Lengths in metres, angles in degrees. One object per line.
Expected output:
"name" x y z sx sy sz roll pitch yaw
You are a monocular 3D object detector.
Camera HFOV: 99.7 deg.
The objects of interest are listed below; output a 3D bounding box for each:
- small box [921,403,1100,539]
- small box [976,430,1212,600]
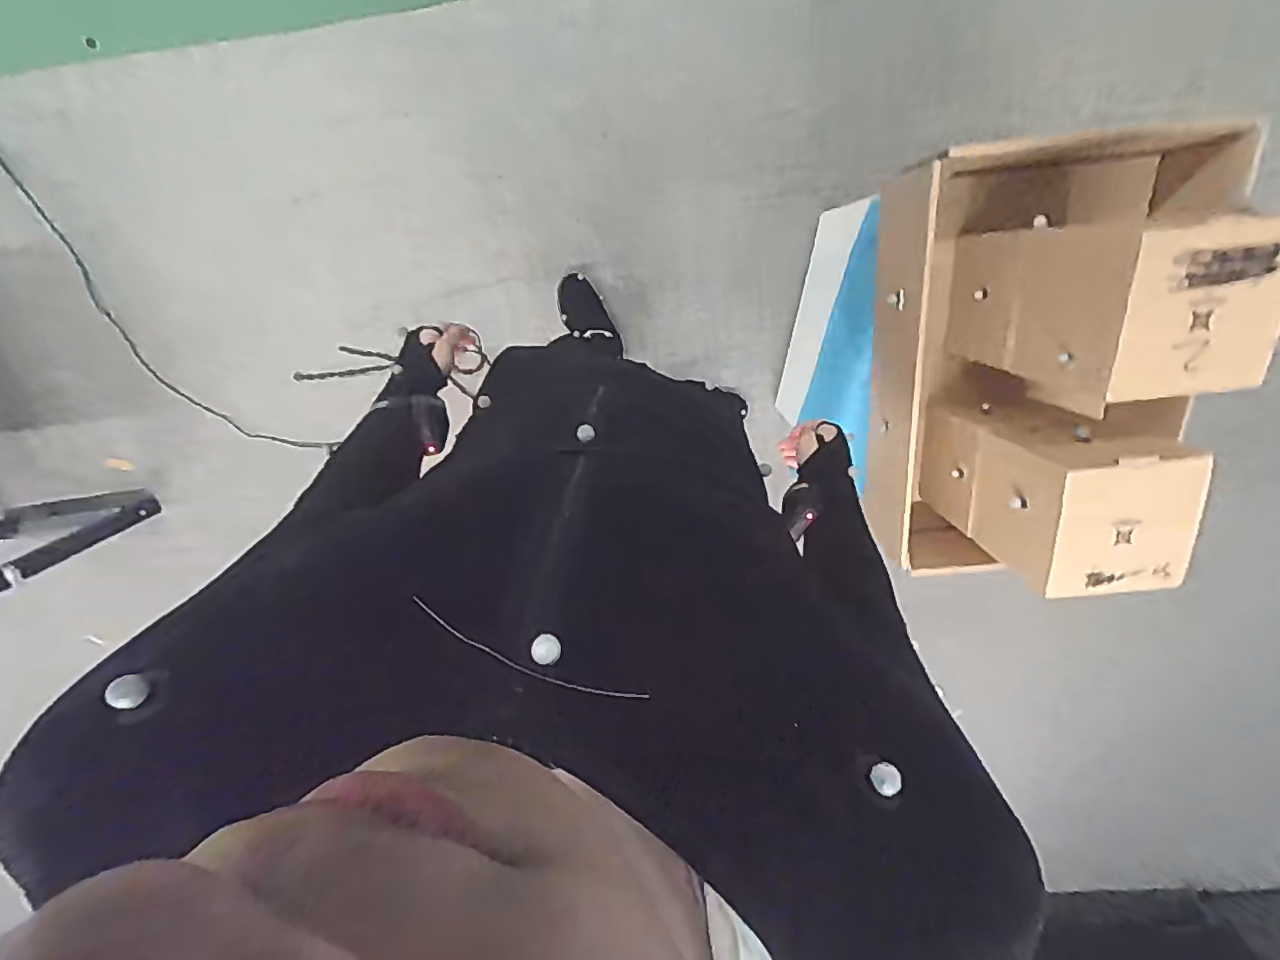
"small box" 0.578 -0.023 0.872 0.168 0.176 0.179 -4 111 2
"small box" 0.579 0.036 0.719 0.168 0.176 0.179 -5 109 4
